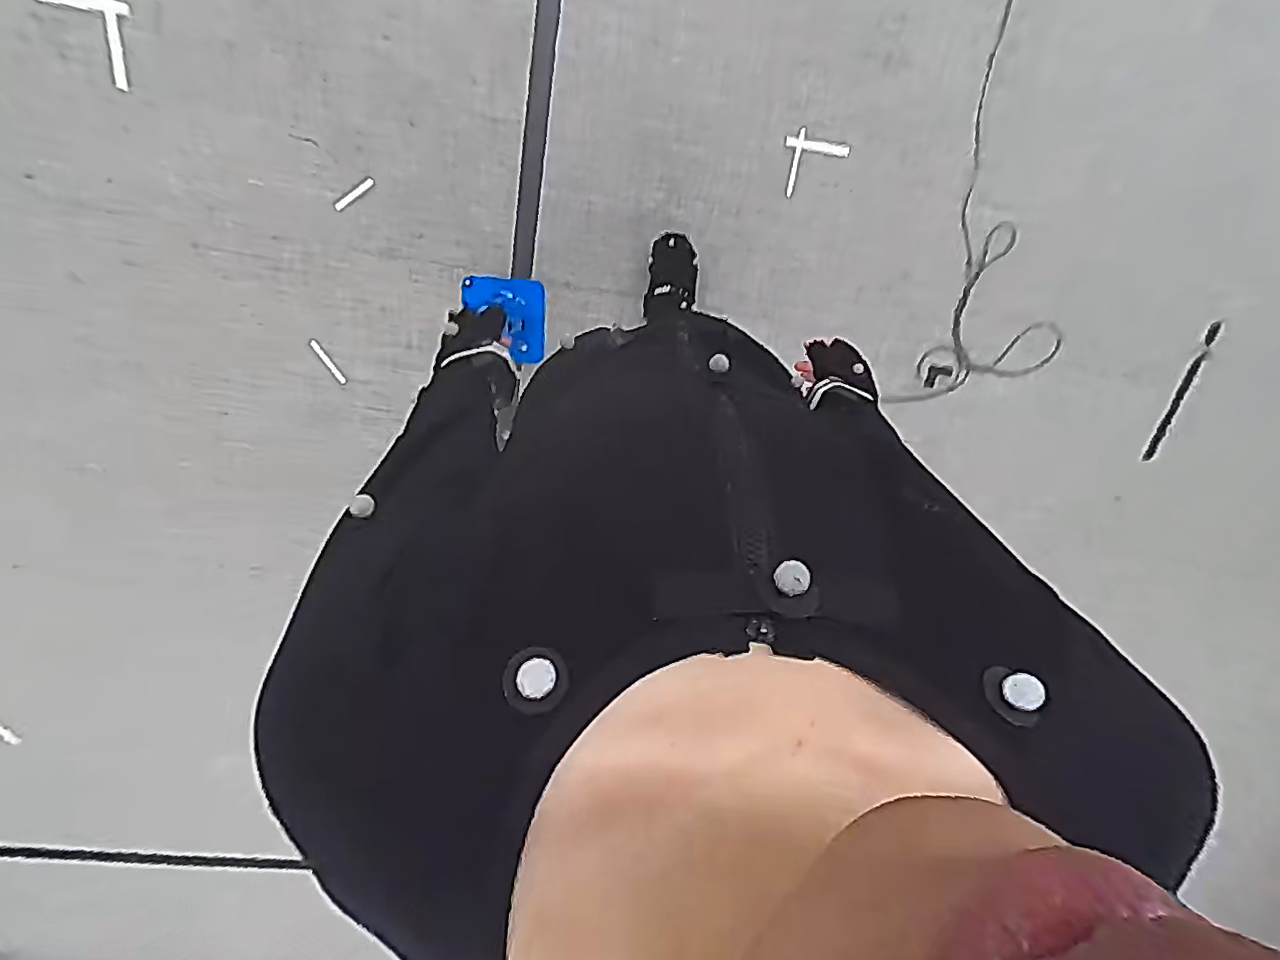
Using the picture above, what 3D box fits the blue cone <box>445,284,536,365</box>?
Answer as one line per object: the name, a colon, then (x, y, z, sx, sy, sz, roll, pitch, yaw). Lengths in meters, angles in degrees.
blue cone: (-0.345, -0.330, 1.180, 0.192, 0.380, 0.193, 5, 108, -5)
